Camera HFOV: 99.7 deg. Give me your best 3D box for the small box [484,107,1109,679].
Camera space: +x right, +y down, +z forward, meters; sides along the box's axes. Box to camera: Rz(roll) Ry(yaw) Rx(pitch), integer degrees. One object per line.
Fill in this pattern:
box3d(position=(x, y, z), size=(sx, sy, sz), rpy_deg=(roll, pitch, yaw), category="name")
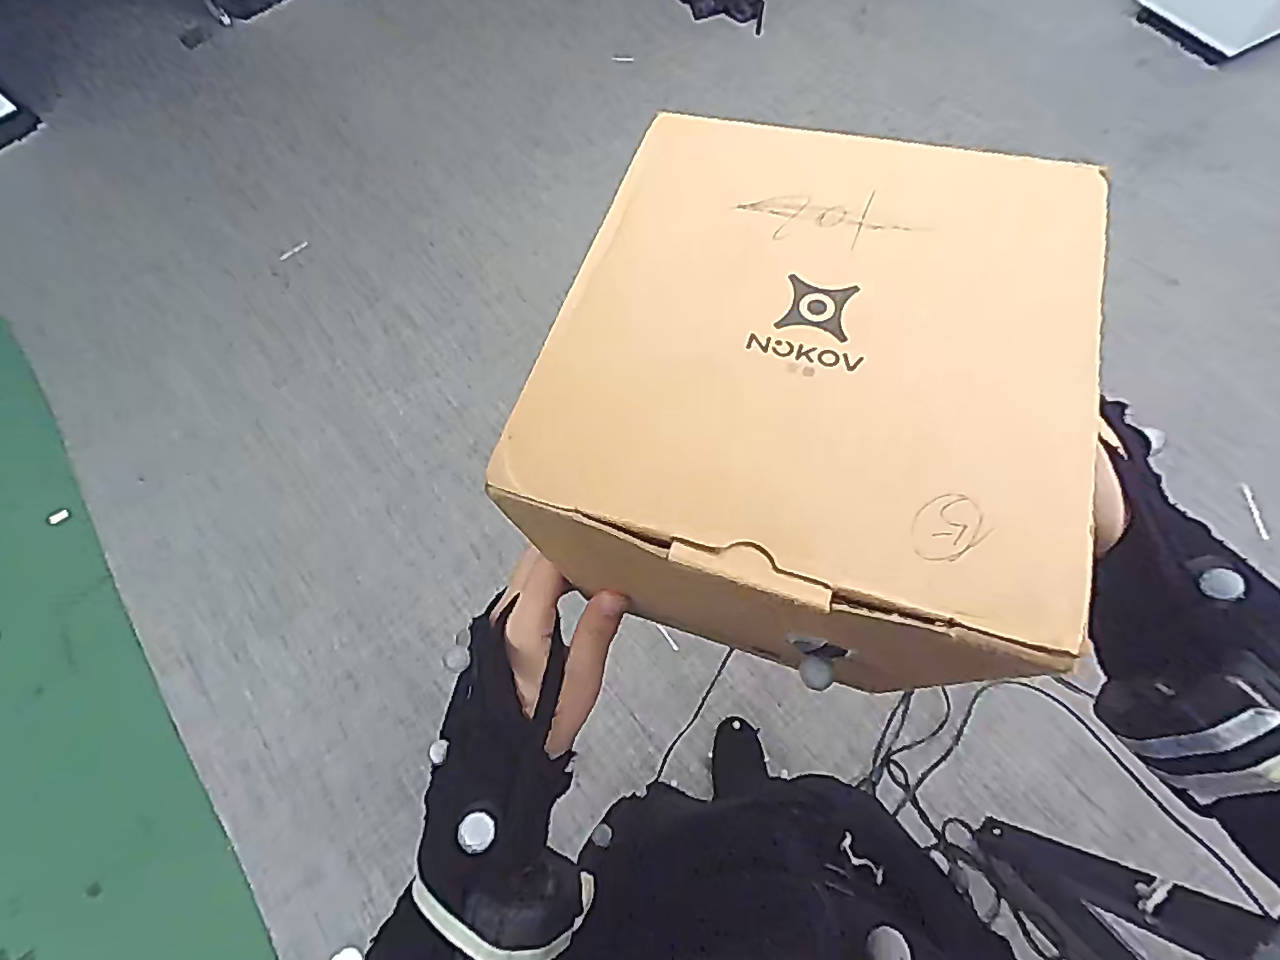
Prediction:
box3d(position=(0.062, -0.022, 0.246), size=(0.168, 0.176, 0.179), rpy_deg=(16, 69, 11), category="small box")
